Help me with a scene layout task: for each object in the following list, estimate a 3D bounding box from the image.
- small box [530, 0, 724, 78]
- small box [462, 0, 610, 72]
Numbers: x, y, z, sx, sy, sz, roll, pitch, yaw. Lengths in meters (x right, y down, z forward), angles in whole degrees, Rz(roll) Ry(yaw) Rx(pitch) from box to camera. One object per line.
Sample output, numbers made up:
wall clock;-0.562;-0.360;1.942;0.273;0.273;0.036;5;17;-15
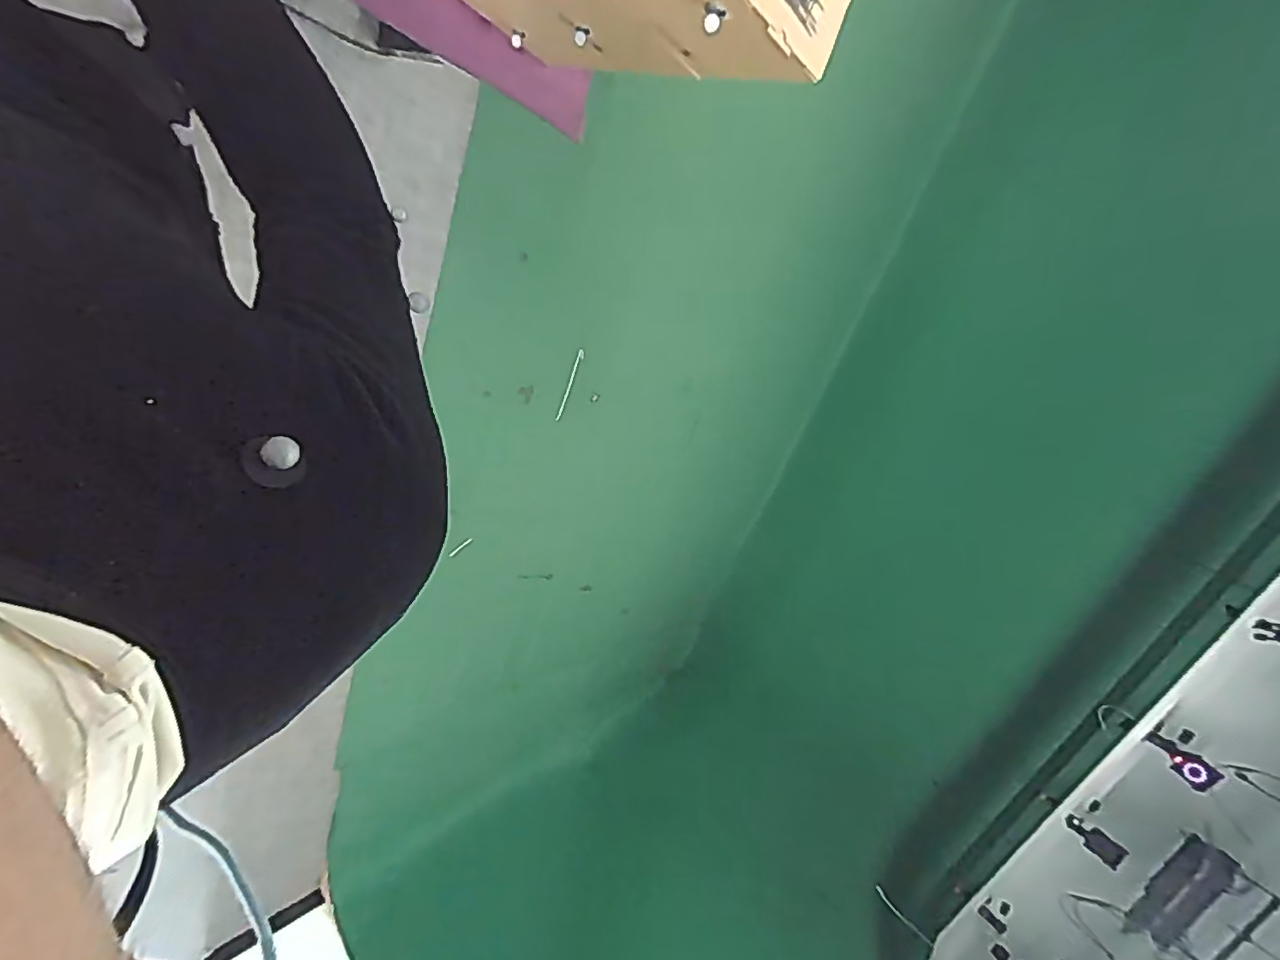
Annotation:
small box;-0.007;-0.616;0.634;0.168;0.176;0.179;0;118;-50
small box;-0.122;-0.691;0.723;0.179;0.176;0.168;-1;119;-51
